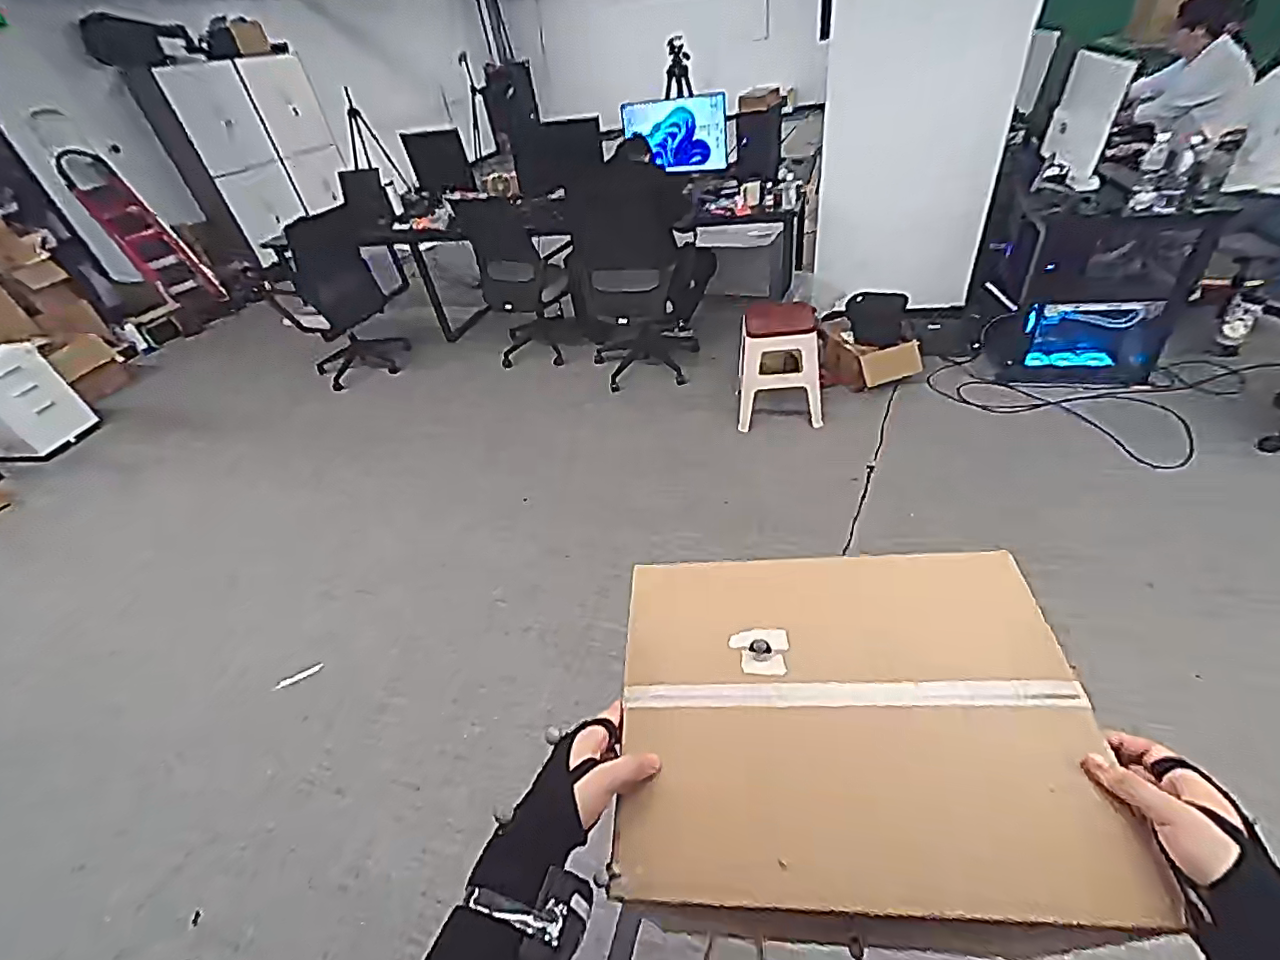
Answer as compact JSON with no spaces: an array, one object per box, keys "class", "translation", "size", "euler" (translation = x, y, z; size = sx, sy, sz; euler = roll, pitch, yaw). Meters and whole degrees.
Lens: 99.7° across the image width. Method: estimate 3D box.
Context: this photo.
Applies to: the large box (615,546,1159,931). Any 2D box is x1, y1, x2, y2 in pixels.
[{"class":"large box","translation":[0.208,0.302,0.616],"size":[0.408,0.320,0.320],"euler":[-5,45,10]}]
